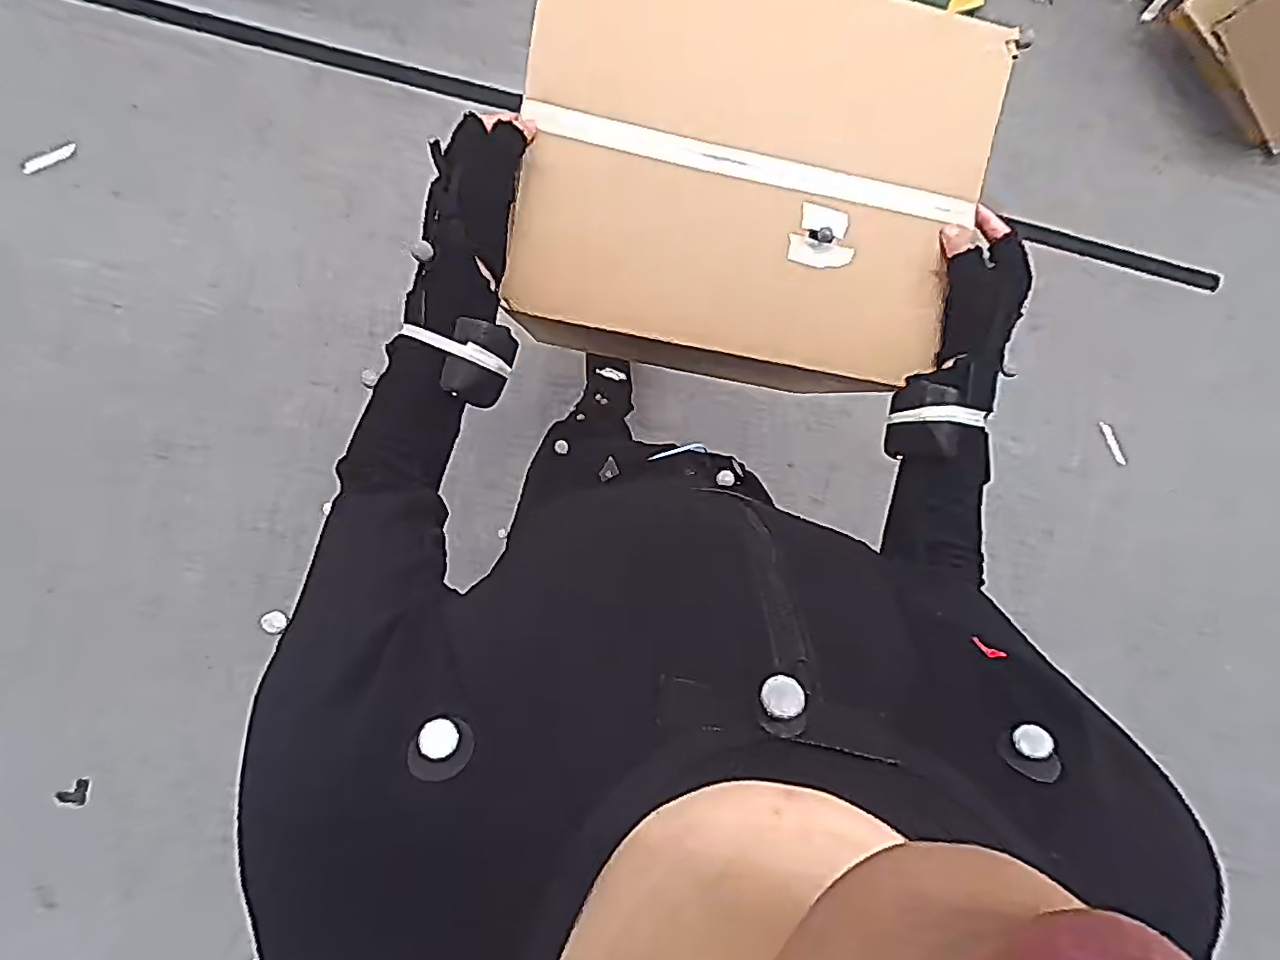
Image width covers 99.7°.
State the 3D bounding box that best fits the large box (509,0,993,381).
[{"bbox_3d":[0.085,-0.304,0.629,0.408,0.320,0.320,9,99,-7],"label":"large box"}]
